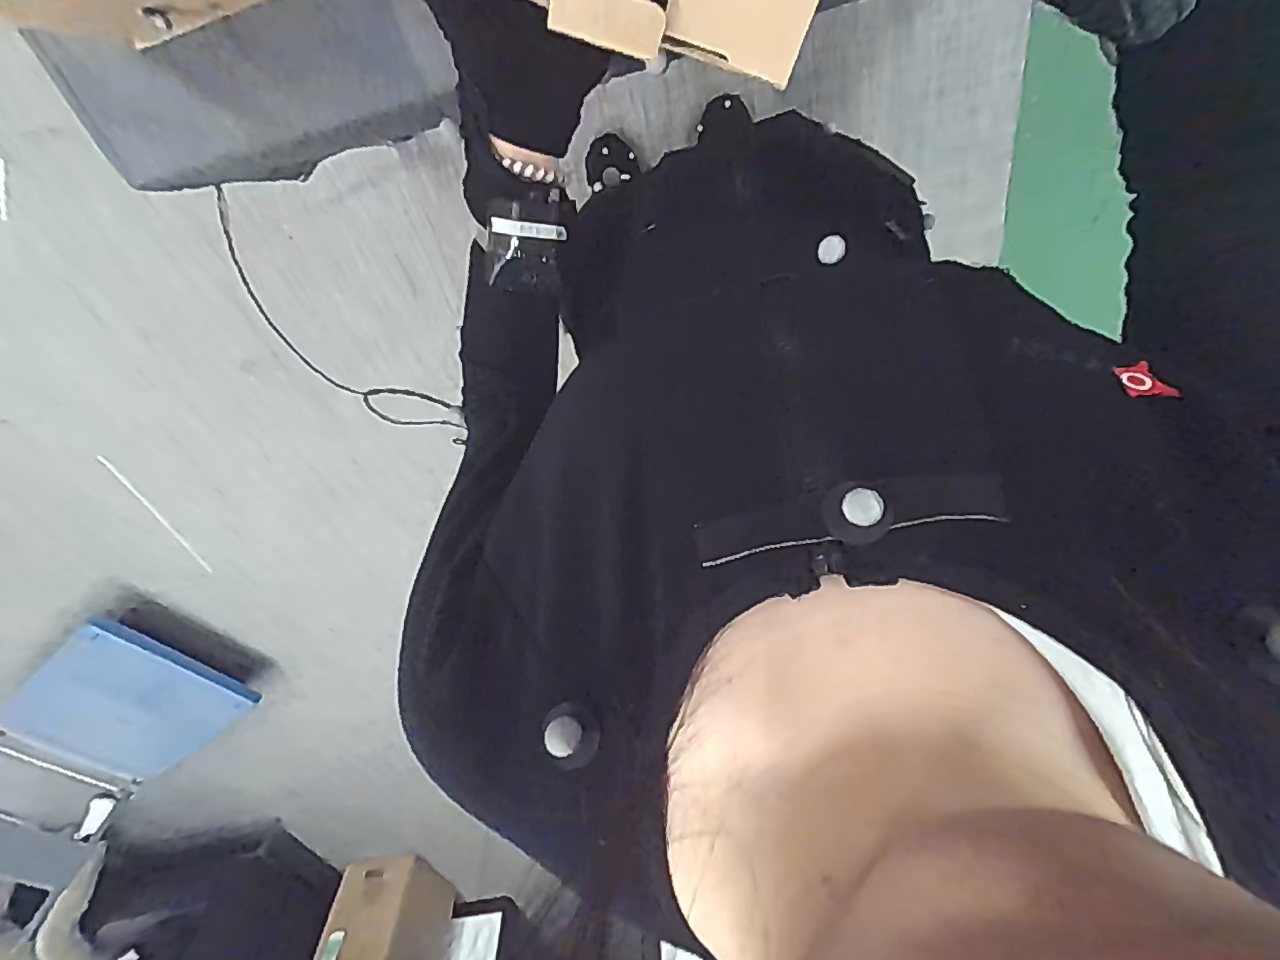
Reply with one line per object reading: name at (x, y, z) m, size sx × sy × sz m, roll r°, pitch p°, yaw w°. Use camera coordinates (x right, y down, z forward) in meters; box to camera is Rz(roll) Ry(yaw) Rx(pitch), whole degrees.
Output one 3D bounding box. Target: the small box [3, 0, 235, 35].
small box at (-0.419, -0.459, 0.384) m, size 0.168 × 0.176 × 0.179 m, roll -15°, pitch 123°, yaw 7°
